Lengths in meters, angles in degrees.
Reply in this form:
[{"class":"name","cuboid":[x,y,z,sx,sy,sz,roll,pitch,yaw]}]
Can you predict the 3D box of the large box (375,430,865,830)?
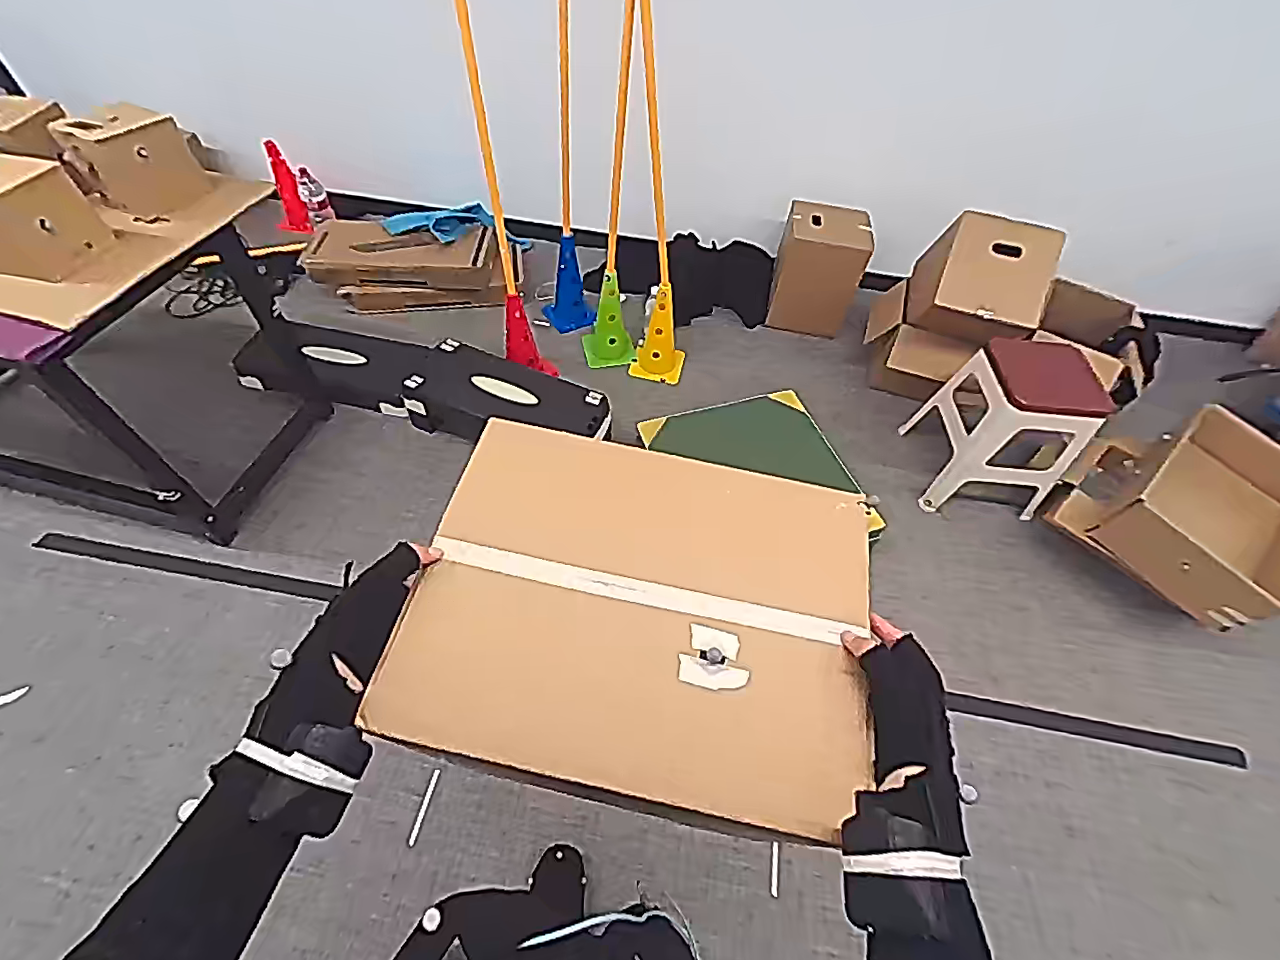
[{"class":"large box","cuboid":[-0.006,0.185,0.627,0.408,0.320,0.320,12,59,2]}]
